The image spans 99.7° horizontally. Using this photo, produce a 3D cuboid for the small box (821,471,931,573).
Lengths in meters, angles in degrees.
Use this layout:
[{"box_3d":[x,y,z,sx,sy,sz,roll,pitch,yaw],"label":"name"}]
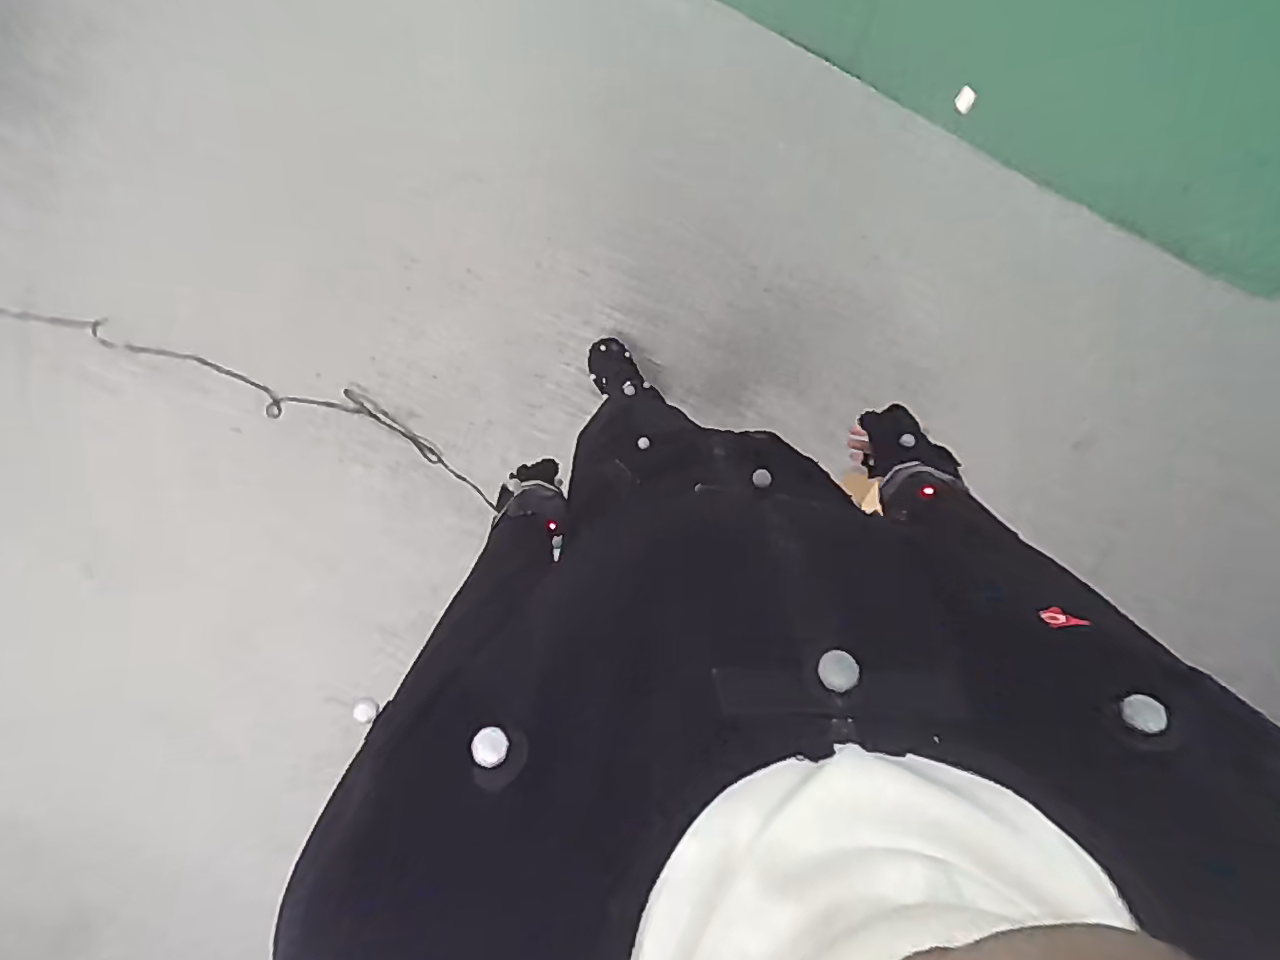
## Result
[{"box_3d":[0.579,0.099,1.361,0.168,0.176,0.179,30,100,-5],"label":"small box"}]
